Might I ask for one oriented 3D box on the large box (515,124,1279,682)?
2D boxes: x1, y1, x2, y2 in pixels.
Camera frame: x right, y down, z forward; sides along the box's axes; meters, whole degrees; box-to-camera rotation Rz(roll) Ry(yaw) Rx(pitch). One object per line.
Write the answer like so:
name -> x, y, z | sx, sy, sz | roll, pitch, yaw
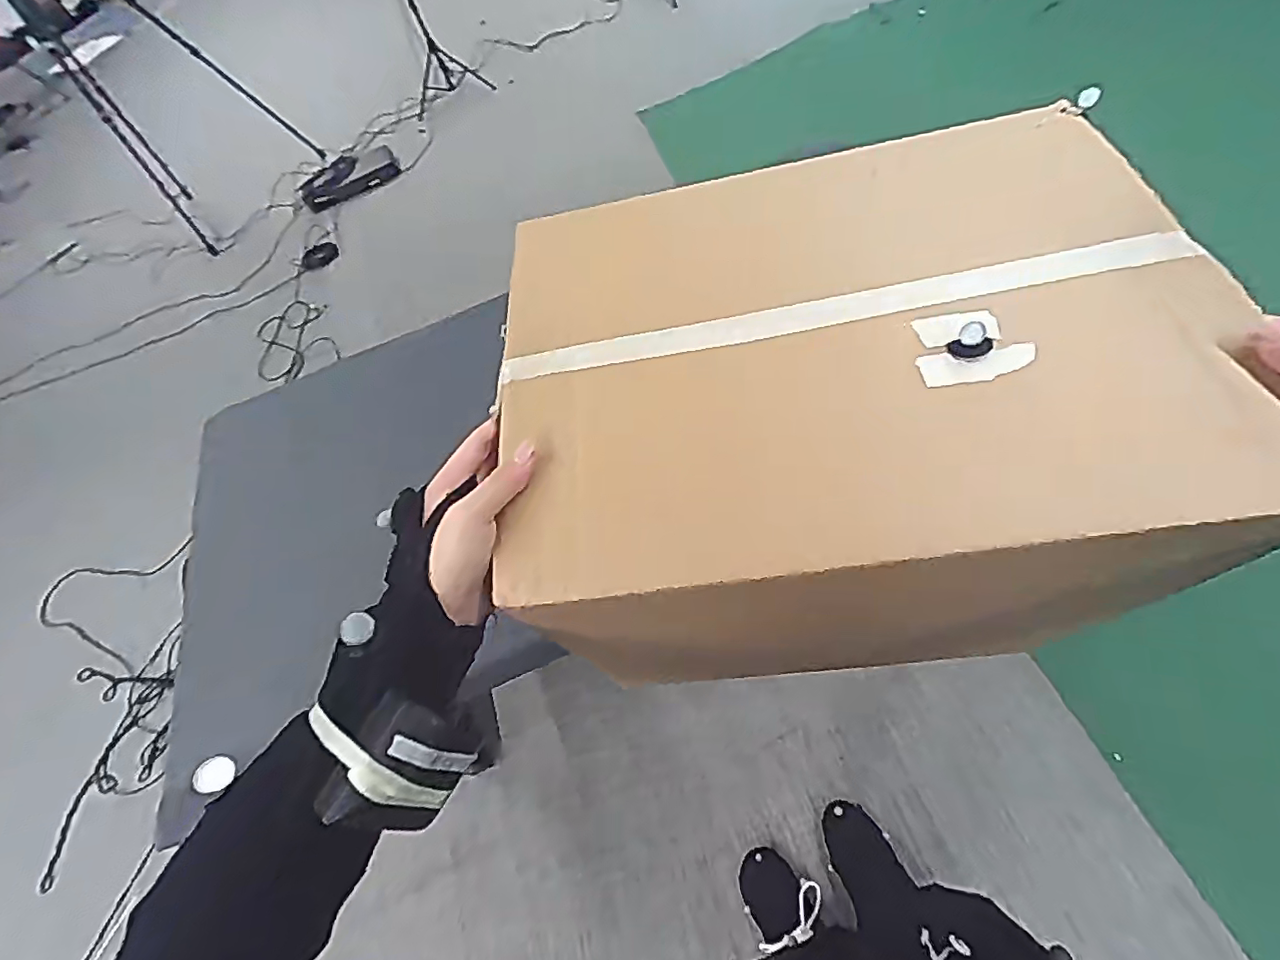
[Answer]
large box -> 0.139, -0.028, 0.469 | 0.408, 0.320, 0.320 | -8, 60, 7
